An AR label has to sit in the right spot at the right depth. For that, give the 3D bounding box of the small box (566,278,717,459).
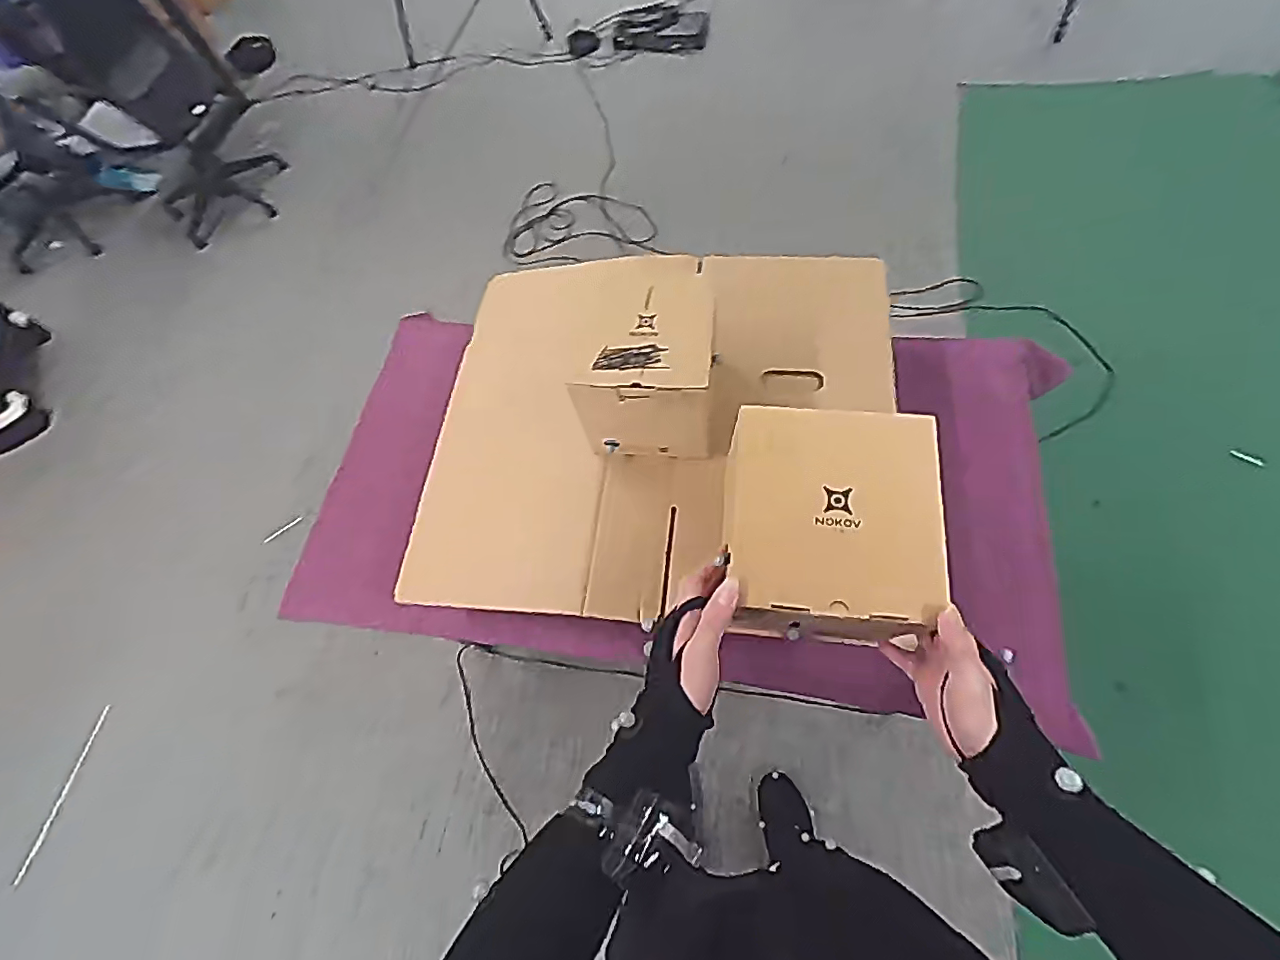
[{"bbox_3d":[0.014,-0.140,0.714,0.168,0.176,0.179,4,64,8],"label":"small box"}]

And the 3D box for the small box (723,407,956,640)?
[{"bbox_3d":[0.170,0.050,0.514,0.168,0.176,0.179,4,71,6],"label":"small box"}]
